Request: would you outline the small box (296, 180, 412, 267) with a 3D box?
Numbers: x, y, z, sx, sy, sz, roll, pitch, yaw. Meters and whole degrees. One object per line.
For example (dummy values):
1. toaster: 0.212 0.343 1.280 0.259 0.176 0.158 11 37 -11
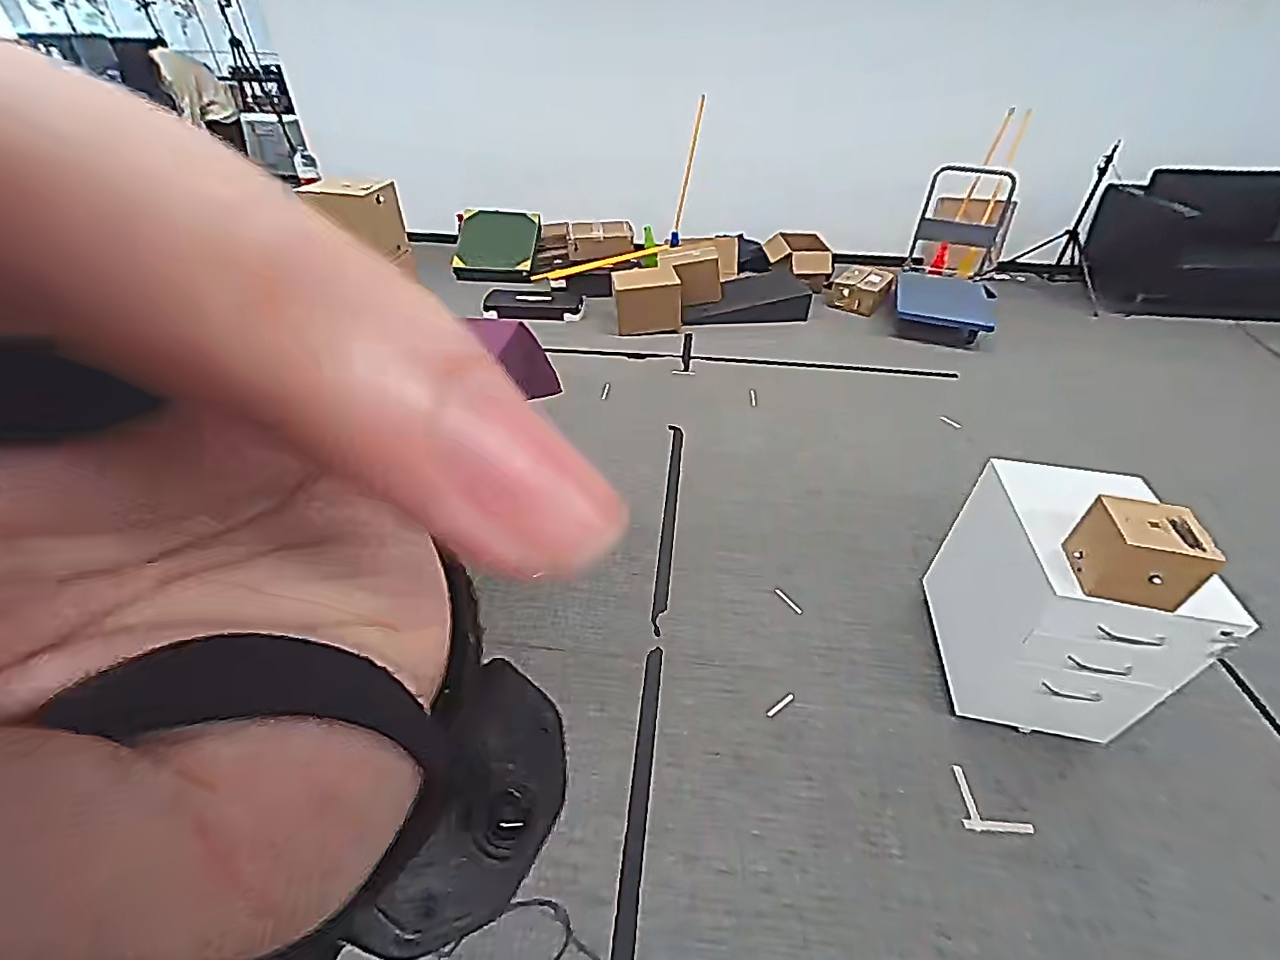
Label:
1. small box: -0.709 -0.646 1.361 0.179 0.176 0.168 4 40 4
